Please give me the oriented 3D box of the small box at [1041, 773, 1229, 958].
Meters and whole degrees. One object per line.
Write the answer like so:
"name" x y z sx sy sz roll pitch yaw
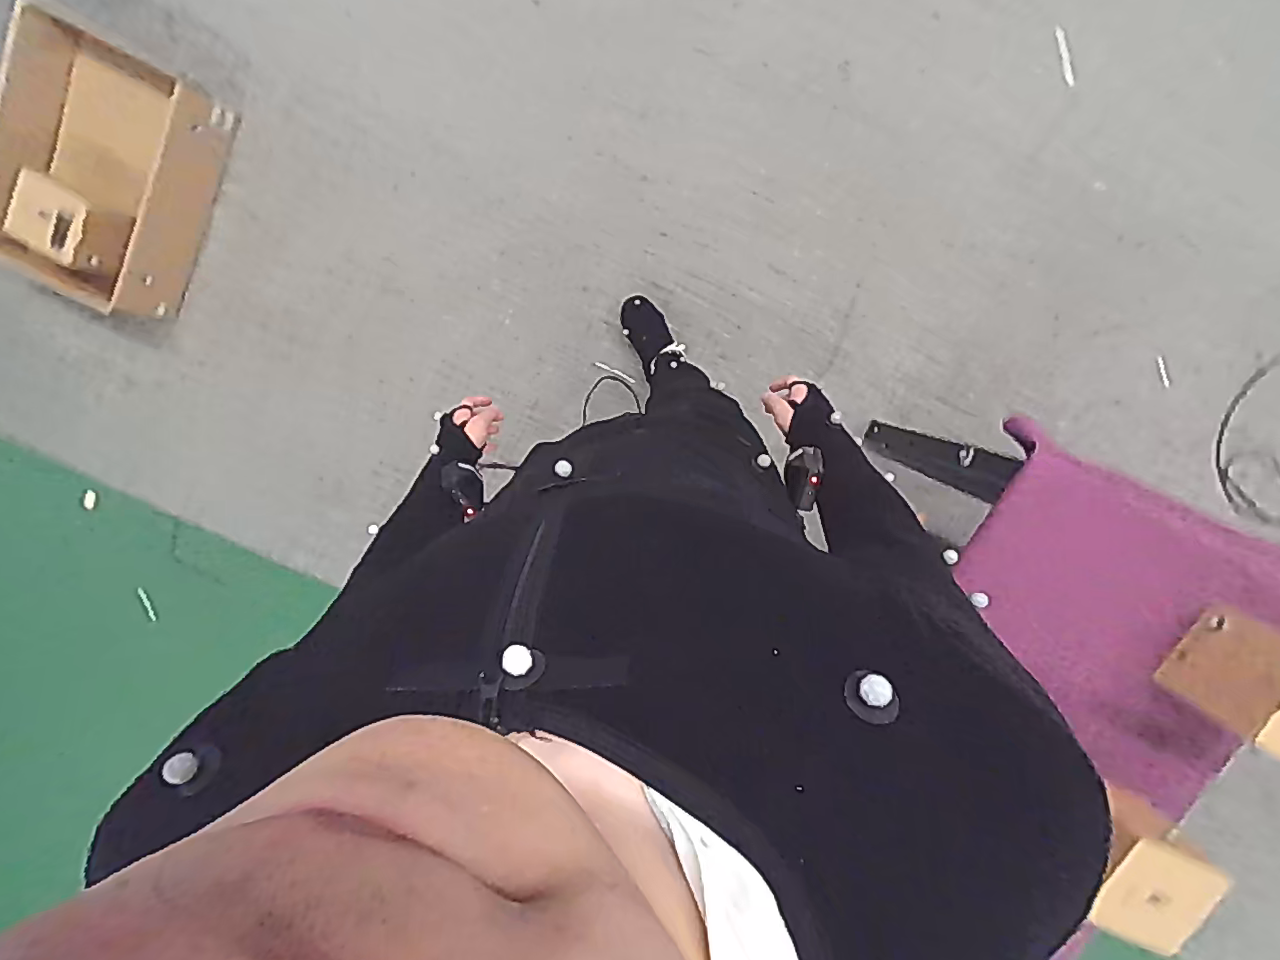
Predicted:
"small box" 0.803 0.644 0.924 0.179 0.176 0.168 26 101 -3

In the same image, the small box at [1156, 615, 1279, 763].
"small box" 0.992 0.338 0.849 0.179 0.176 0.168 28 102 -3
